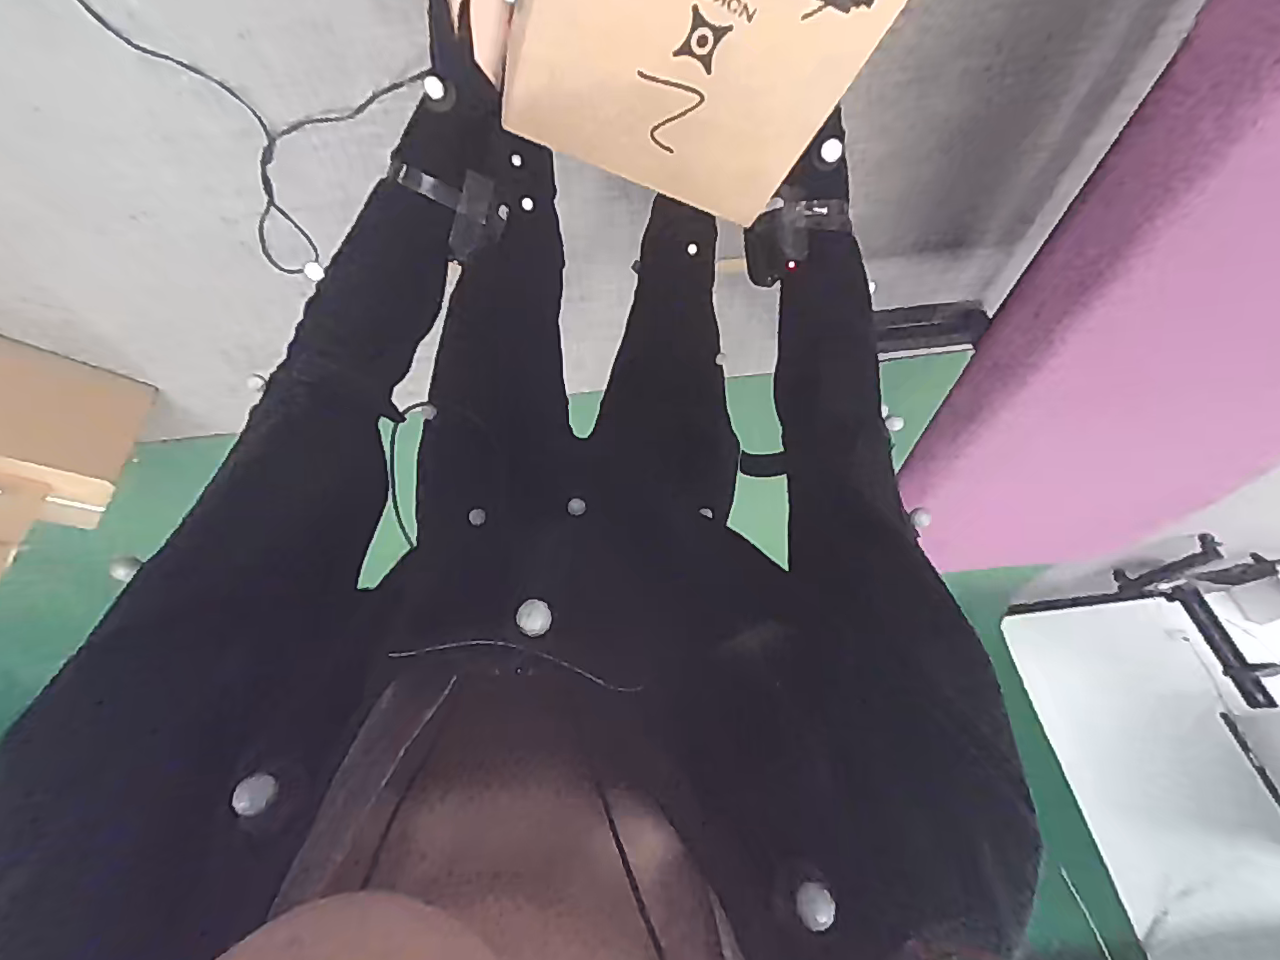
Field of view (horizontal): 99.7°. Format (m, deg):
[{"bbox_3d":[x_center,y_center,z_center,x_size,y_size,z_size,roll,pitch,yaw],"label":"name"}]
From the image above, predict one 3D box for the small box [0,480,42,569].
[{"bbox_3d":[-1.505,0.099,1.213,0.179,0.176,0.168,-29,142,30],"label":"small box"}]
